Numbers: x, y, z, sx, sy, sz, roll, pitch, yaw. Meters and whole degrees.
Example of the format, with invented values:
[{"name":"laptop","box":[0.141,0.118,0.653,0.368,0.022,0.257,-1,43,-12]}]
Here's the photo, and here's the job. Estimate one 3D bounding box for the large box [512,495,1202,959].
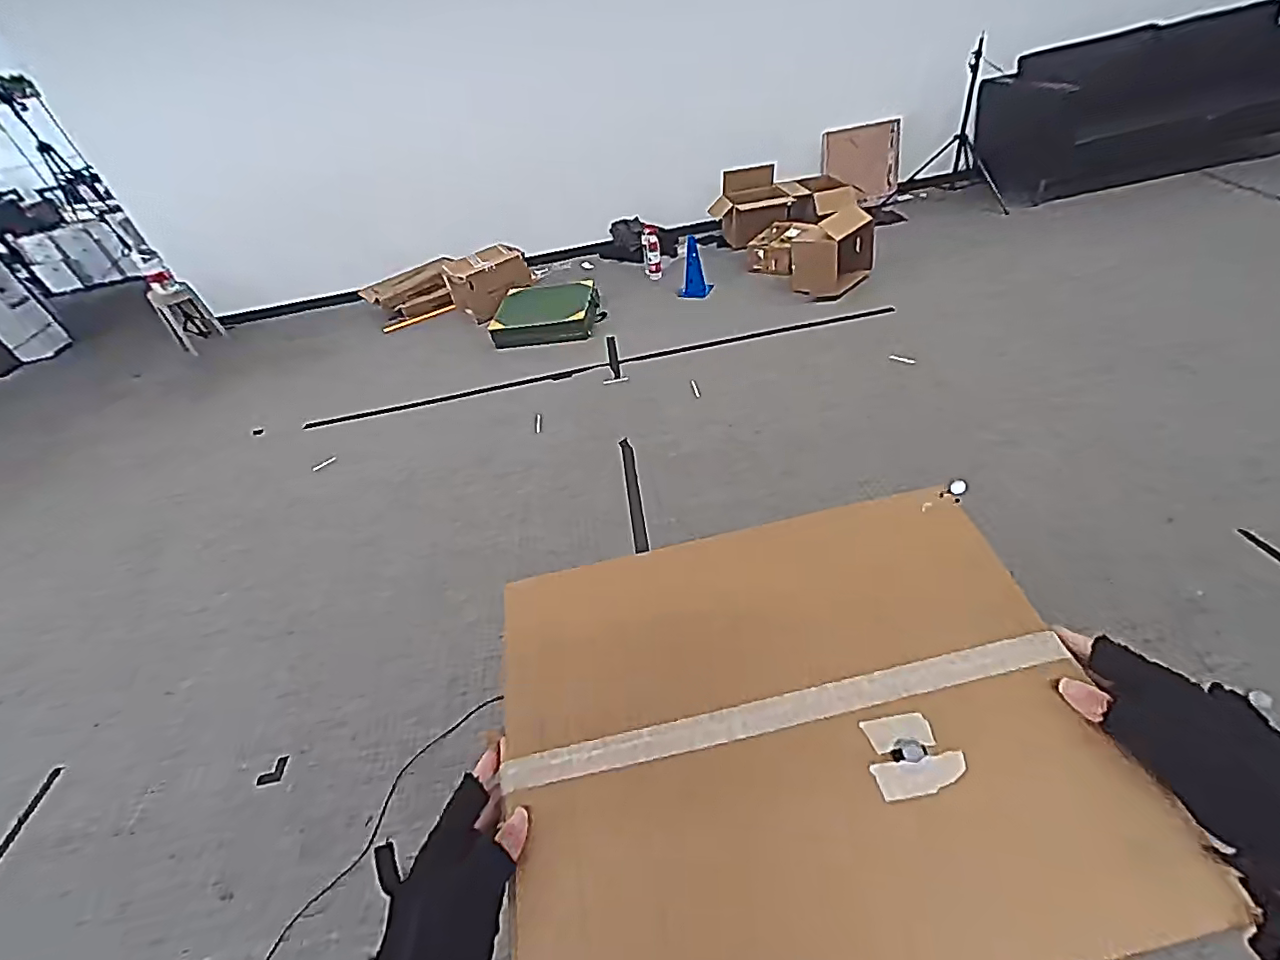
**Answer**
[{"name":"large box","box":[0.122,0.266,0.512,0.408,0.320,0.320,-13,50,-2]}]
